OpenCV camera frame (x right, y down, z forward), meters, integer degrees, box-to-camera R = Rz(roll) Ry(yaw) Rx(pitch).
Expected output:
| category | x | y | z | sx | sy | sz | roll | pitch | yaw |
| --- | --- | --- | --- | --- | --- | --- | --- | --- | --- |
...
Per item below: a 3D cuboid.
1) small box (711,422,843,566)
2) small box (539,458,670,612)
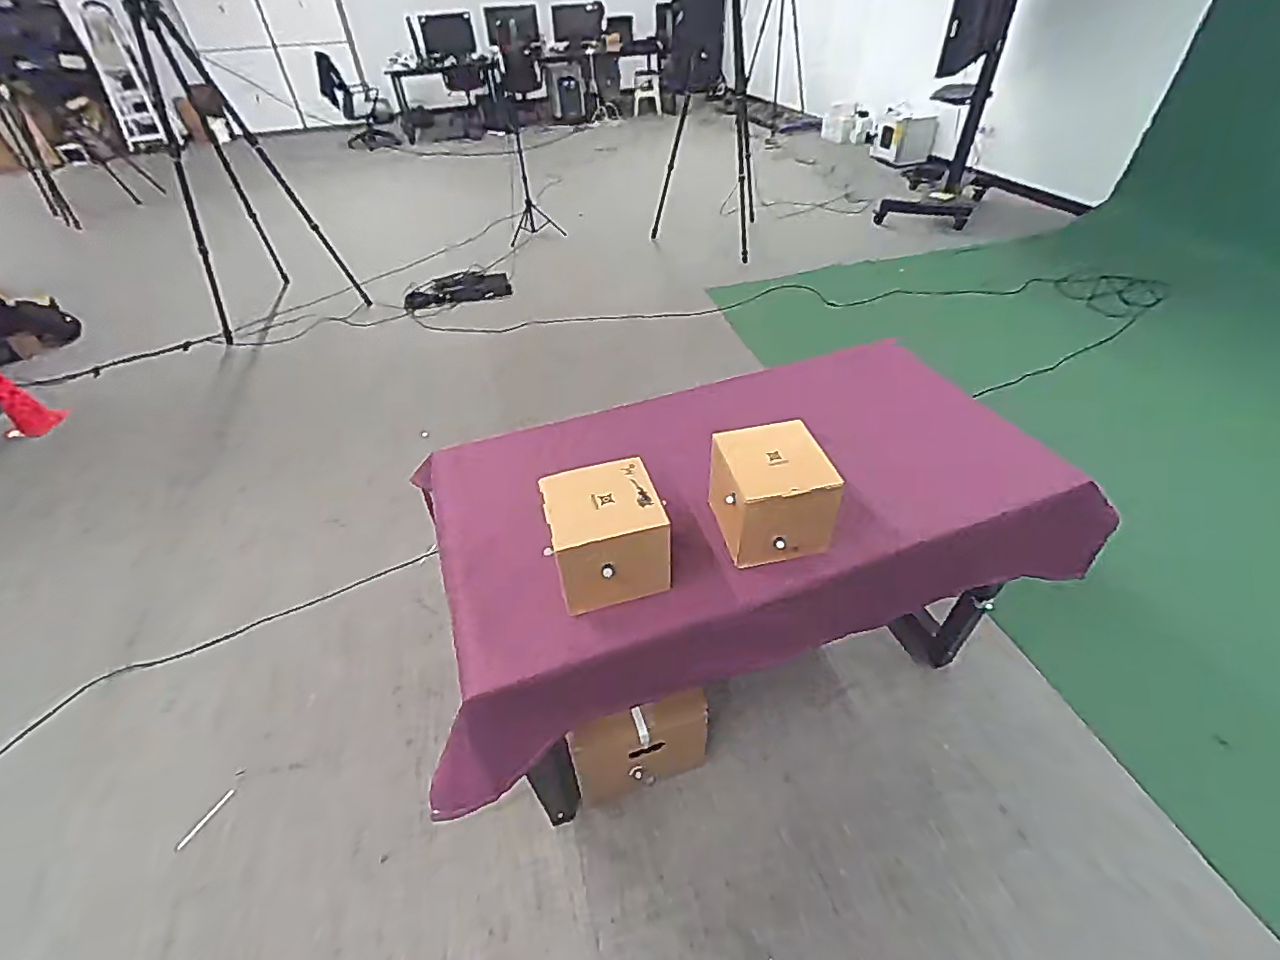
| category | x | y | z | sx | sy | sz | roll | pitch | yaw |
| --- | --- | --- | --- | --- | --- | --- | --- | --- | --- |
| small box | 0.228 | 0.024 | 0.953 | 0.168 | 0.176 | 0.179 | -10 | 44 | -6 |
| small box | -0.056 | 0.094 | 0.896 | 0.179 | 0.176 | 0.168 | -14 | 45 | -9 |
